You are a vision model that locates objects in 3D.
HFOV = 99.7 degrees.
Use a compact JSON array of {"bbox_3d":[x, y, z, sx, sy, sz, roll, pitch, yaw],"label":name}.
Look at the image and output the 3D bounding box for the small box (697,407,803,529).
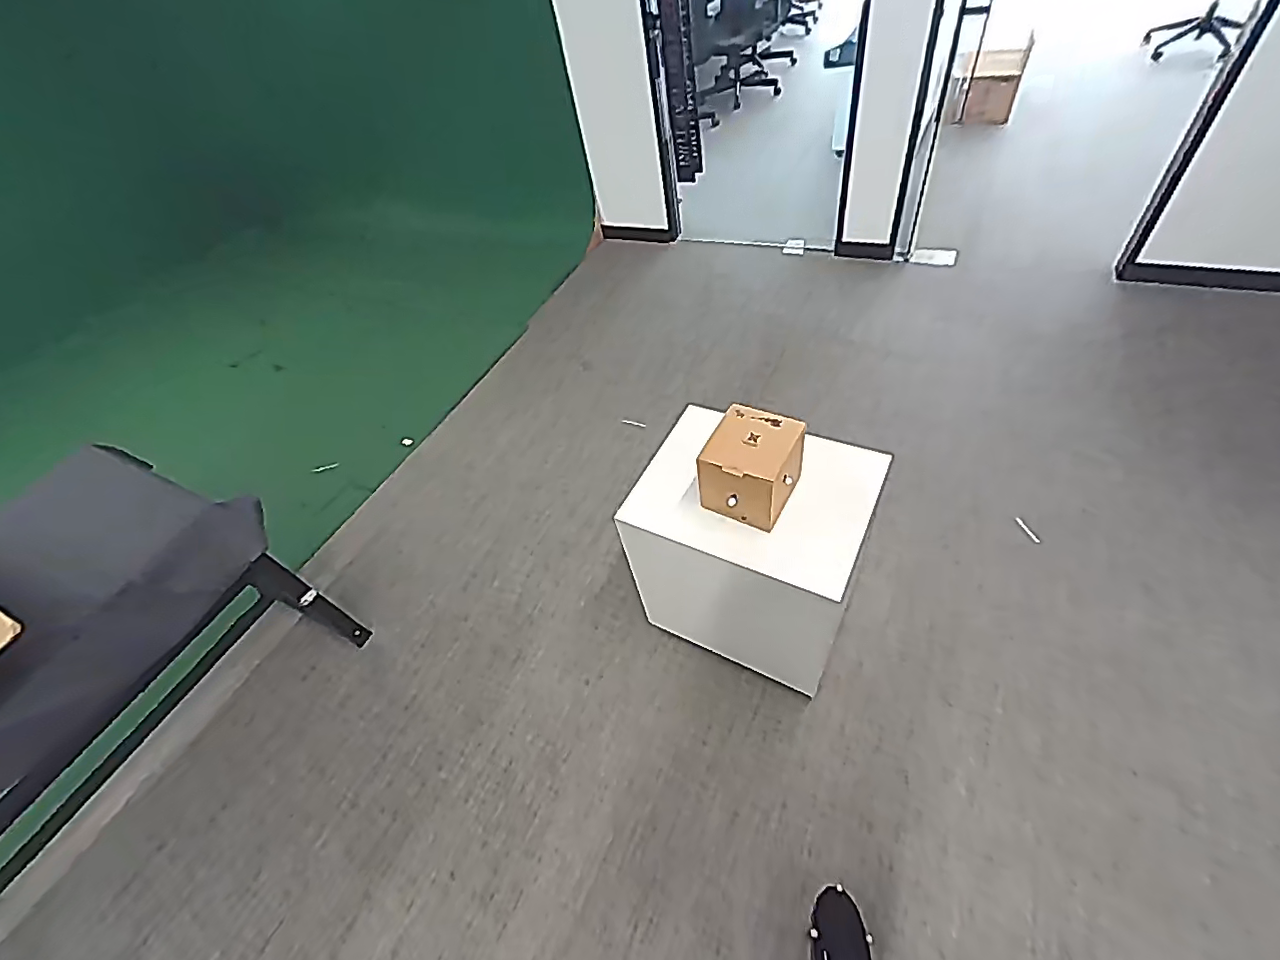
[{"bbox_3d":[0.239,-0.023,1.155,0.168,0.176,0.179,18,56,25],"label":"small box"}]
